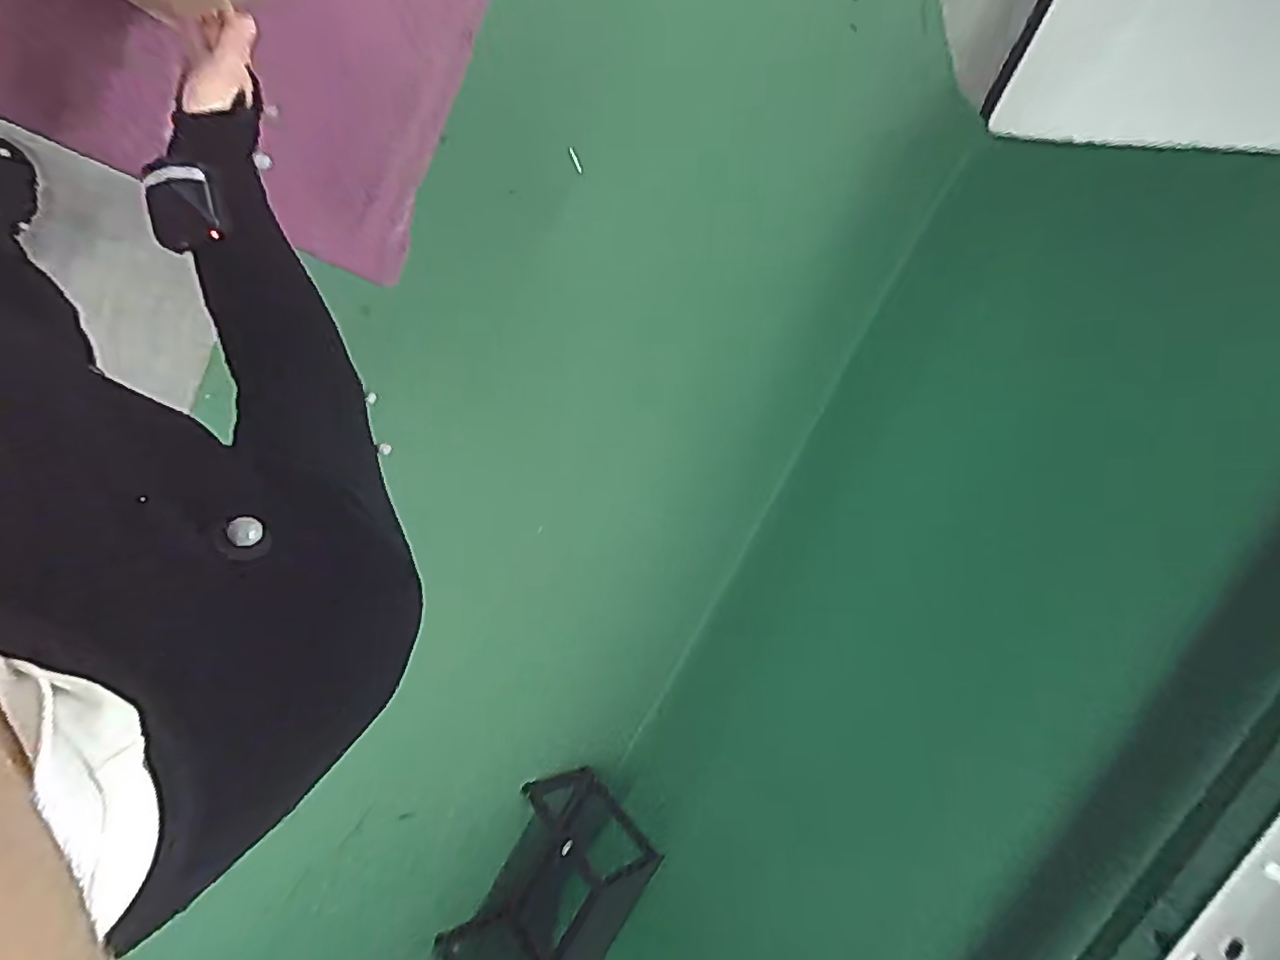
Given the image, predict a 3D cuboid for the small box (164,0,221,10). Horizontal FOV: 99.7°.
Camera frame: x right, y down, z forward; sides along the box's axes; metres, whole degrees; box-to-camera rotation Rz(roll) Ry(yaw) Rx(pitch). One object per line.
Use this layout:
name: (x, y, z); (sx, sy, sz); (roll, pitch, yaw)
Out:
small box: (-0.341, -0.446, 0.338); (0.168, 0.176, 0.179); (15, 104, -52)
